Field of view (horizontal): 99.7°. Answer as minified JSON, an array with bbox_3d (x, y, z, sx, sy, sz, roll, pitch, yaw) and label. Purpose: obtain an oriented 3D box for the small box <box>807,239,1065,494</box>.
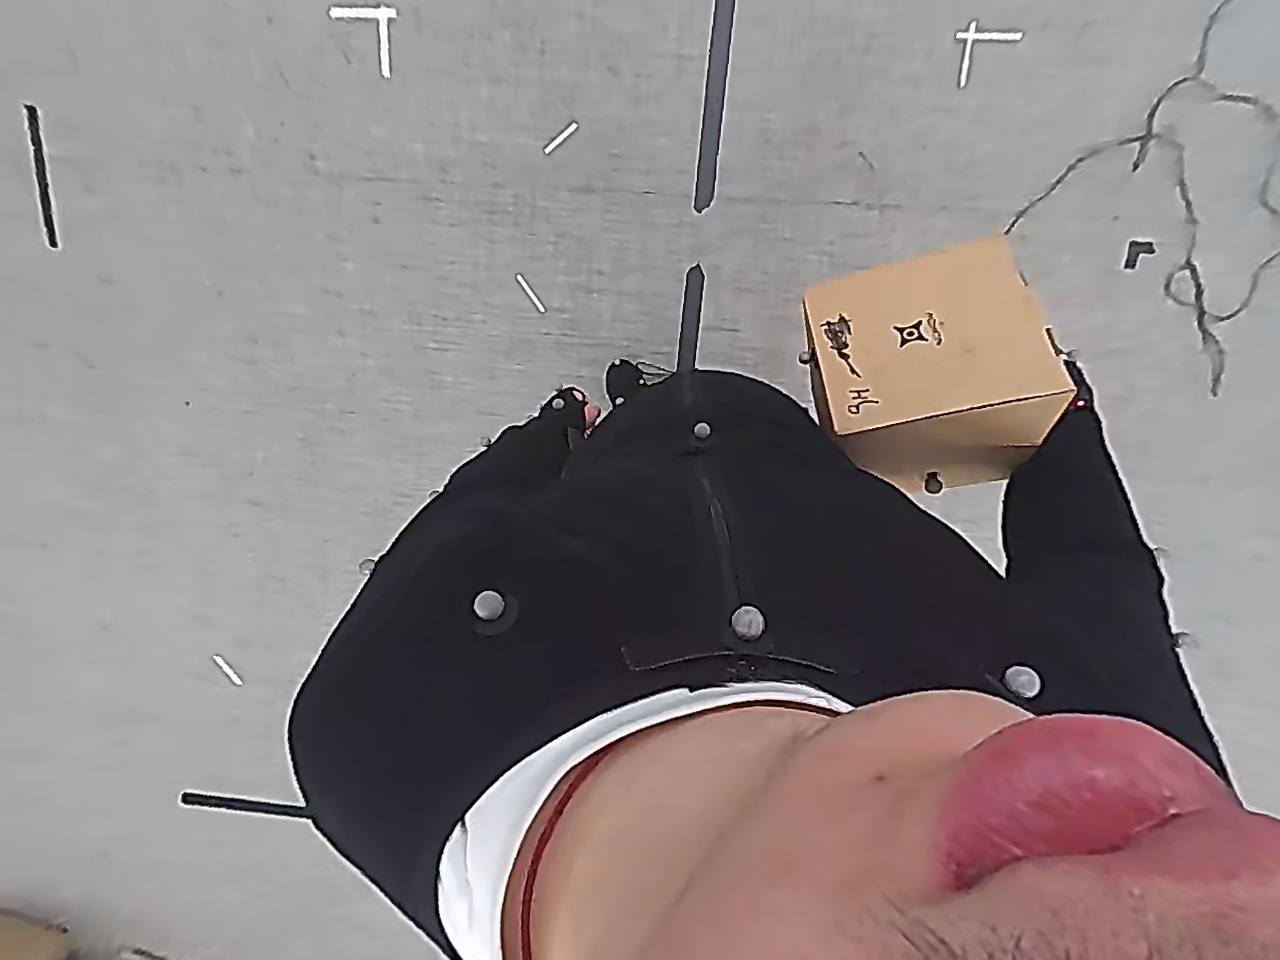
[{"bbox_3d":[0.273,-0.100,0.546,0.179,0.176,0.168,-10,63,16],"label":"small box"}]
